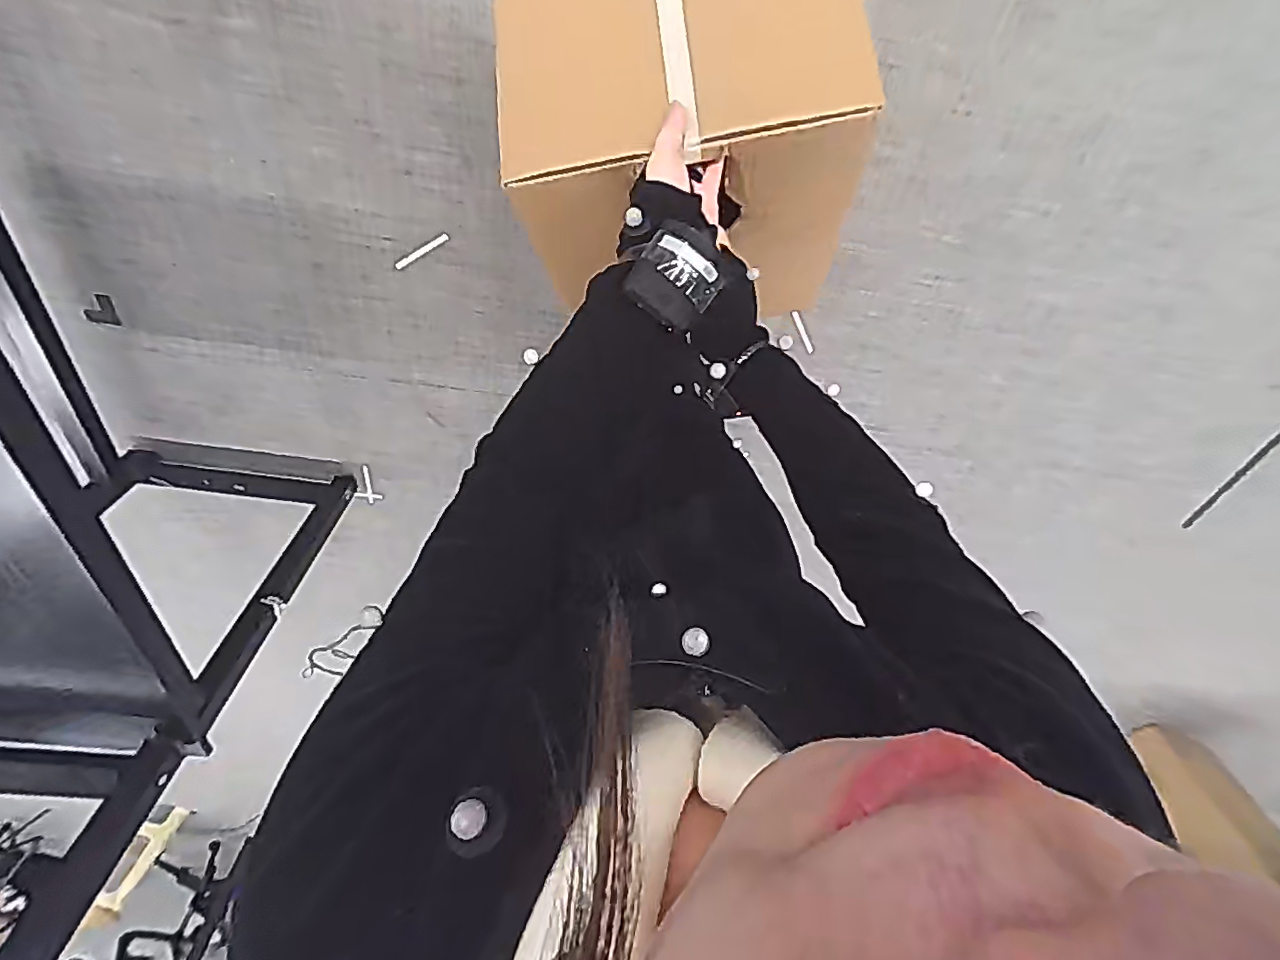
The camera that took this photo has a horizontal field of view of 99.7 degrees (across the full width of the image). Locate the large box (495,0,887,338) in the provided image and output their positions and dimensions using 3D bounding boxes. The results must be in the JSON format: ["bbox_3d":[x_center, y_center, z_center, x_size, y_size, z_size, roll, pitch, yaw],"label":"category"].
[{"bbox_3d":[0.043,-0.430,0.613,0.320,0.408,0.320,-7,168,7],"label":"large box"}]
